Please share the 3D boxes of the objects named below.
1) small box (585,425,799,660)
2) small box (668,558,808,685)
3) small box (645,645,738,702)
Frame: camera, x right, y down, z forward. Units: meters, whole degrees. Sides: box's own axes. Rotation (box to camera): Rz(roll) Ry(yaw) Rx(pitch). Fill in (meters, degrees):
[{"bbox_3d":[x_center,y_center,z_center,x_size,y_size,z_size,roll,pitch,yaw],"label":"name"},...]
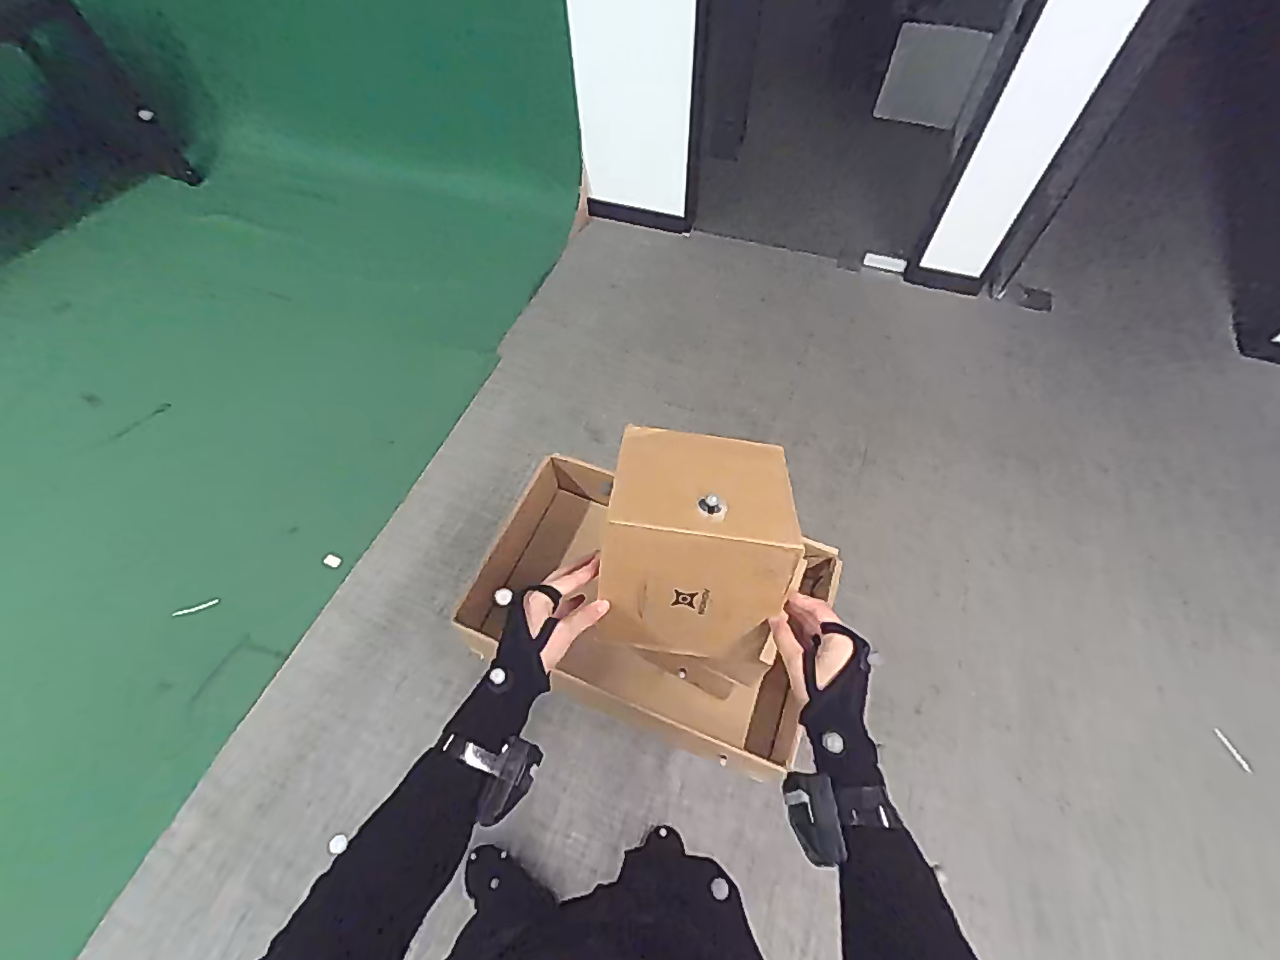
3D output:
[{"bbox_3d":[0.047,0.059,0.567,0.179,0.168,0.176,9,35,0],"label":"small box"},{"bbox_3d":[0.131,0.192,0.827,0.179,0.176,0.168,22,61,14],"label":"small box"},{"bbox_3d":[0.122,0.273,0.970,0.168,0.176,0.179,24,61,15],"label":"small box"}]
